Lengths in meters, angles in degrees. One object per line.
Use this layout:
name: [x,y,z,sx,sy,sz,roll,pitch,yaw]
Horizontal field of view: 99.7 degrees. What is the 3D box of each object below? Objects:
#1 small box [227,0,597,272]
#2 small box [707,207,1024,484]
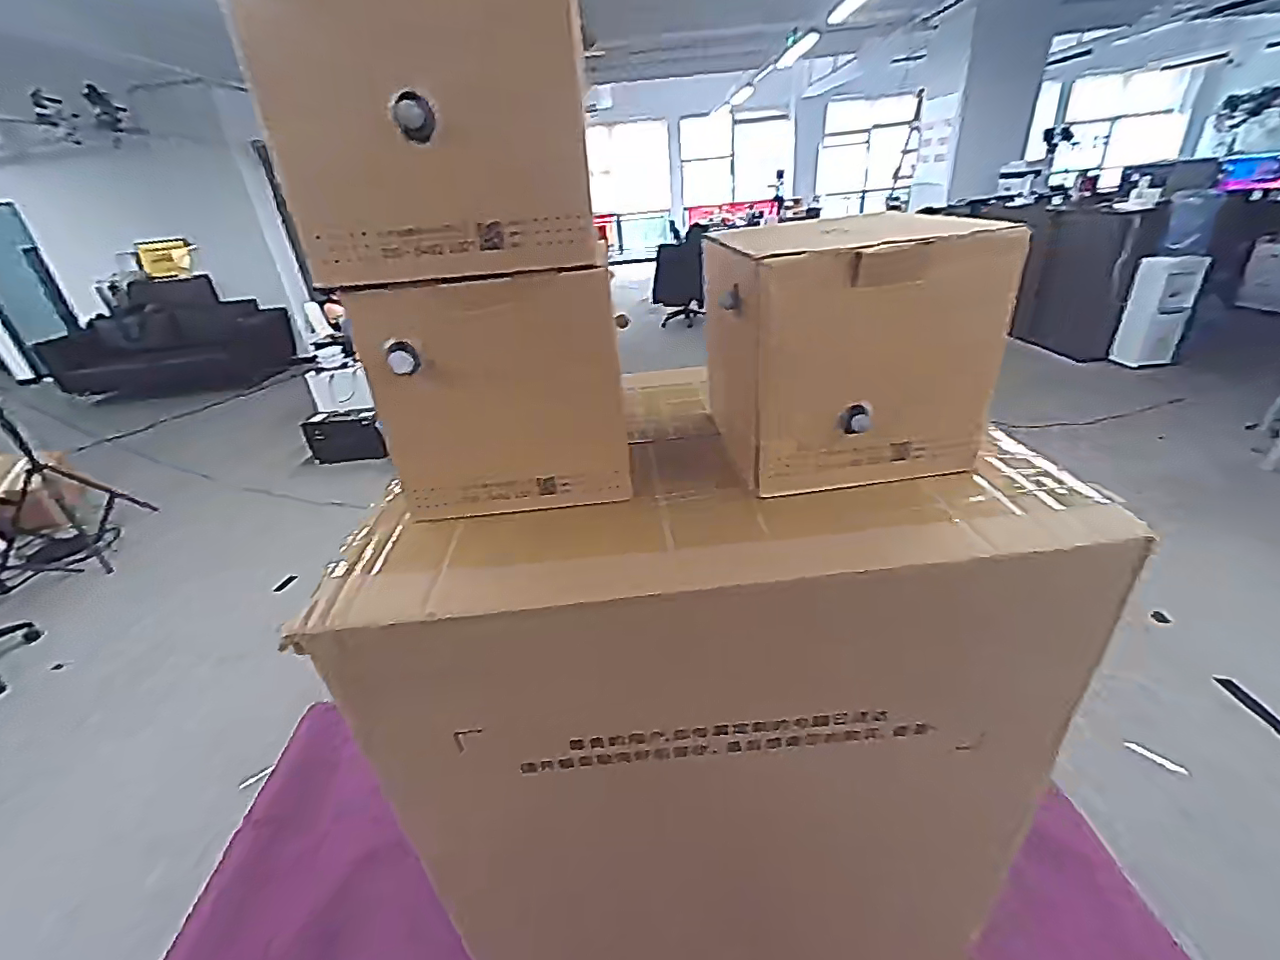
small box: [-0.120,-0.234,0.352,0.168,0.176,0.179,-6,28,-5]
small box: [0.150,-0.114,0.431,0.168,0.176,0.179,-8,29,-2]
